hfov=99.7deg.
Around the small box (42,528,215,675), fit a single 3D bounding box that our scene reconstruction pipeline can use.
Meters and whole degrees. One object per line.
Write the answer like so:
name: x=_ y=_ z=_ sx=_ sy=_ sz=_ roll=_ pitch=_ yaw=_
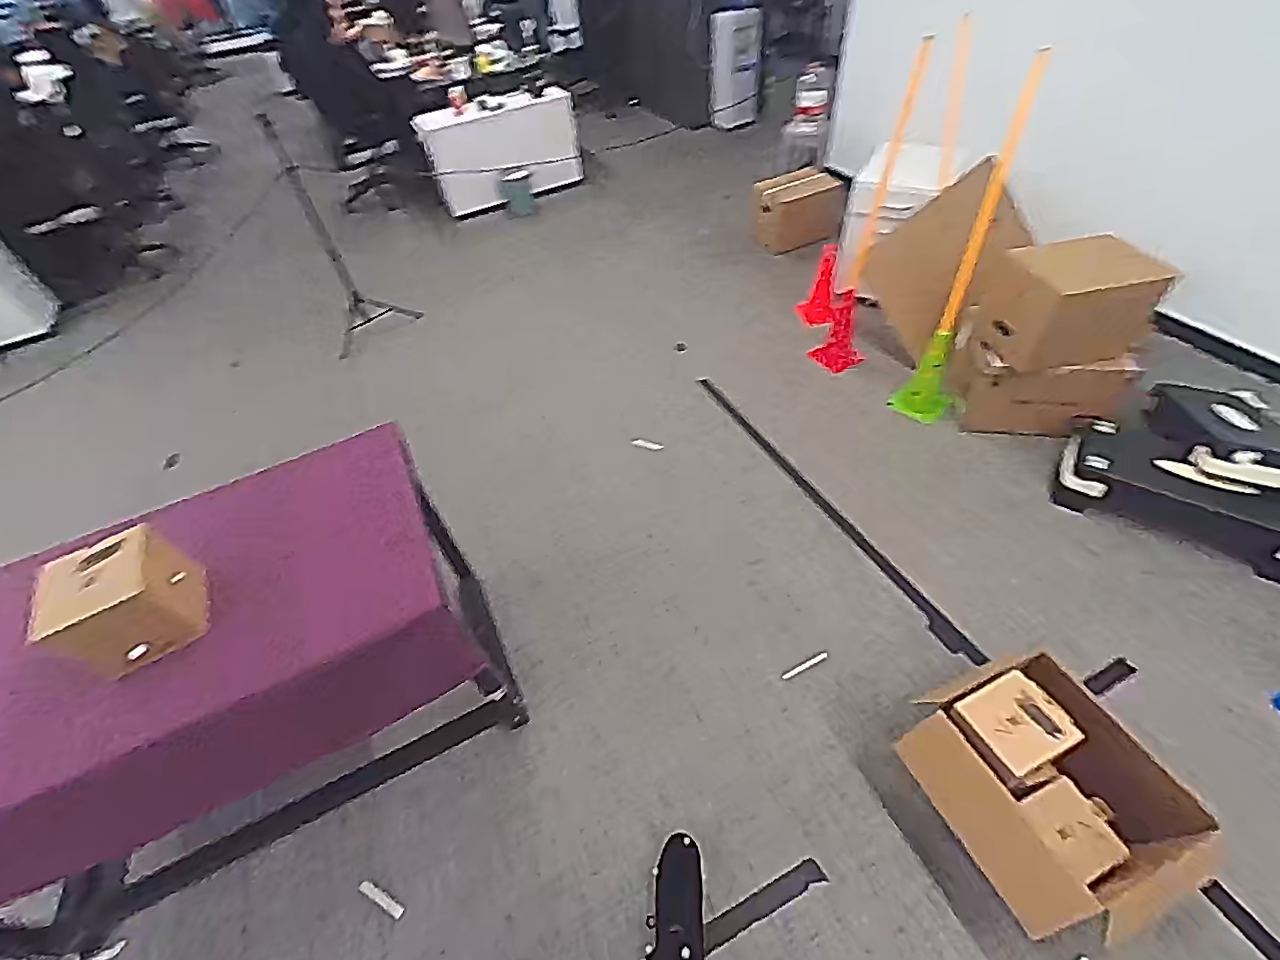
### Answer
small box: x=-0.942 y=0.230 z=1.015 sx=0.168 sy=0.176 sz=0.179 roll=-28 pitch=52 yaw=-16
